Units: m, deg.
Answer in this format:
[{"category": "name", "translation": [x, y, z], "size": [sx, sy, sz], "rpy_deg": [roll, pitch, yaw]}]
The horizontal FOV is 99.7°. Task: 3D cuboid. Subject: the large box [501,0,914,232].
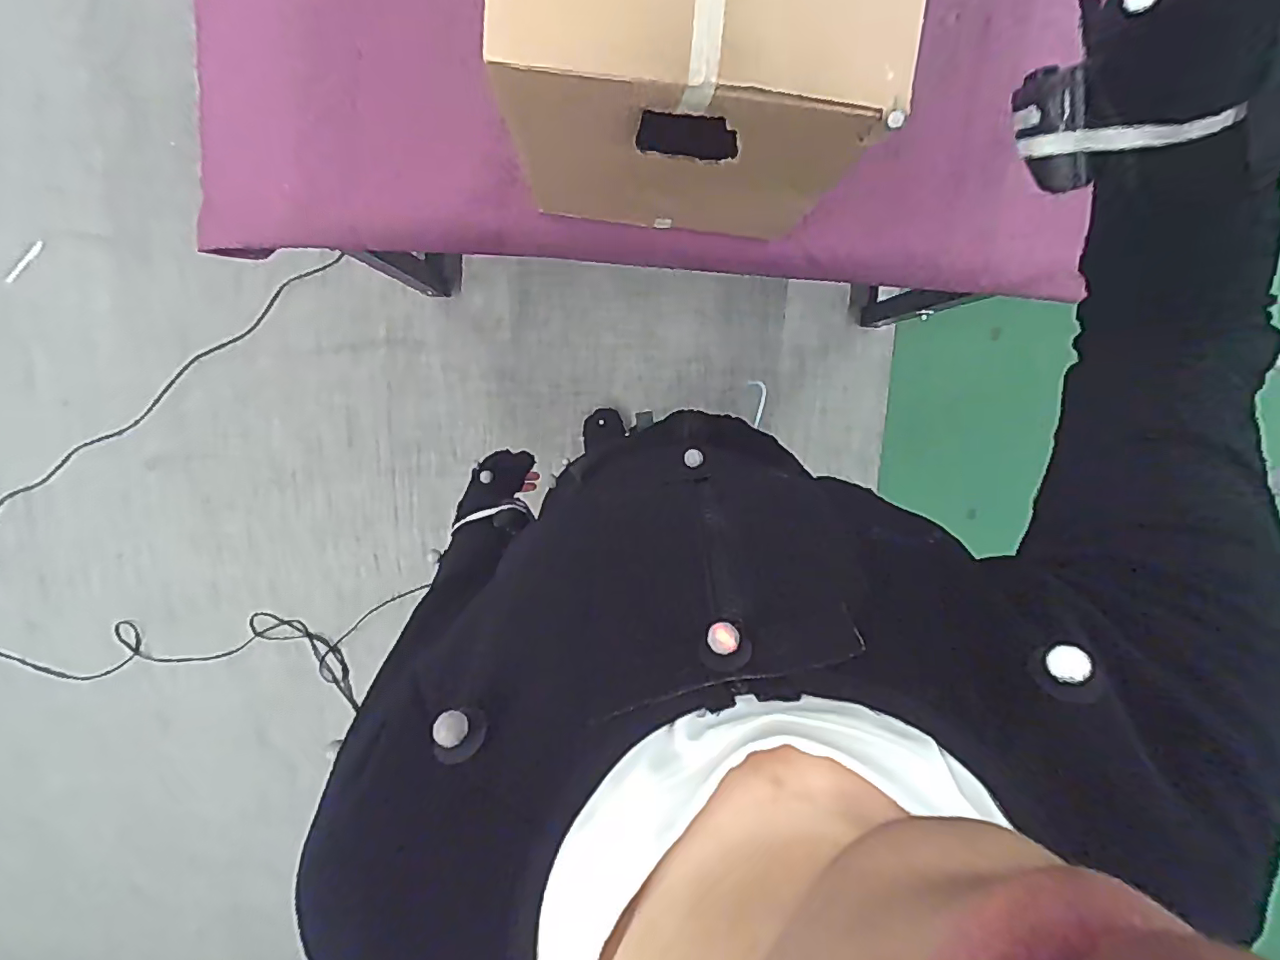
[{"category": "large box", "translation": [0.056, -0.509, 0.526], "size": [0.320, 0.320, 0.408], "rpy_deg": [5, 99, -3]}]
